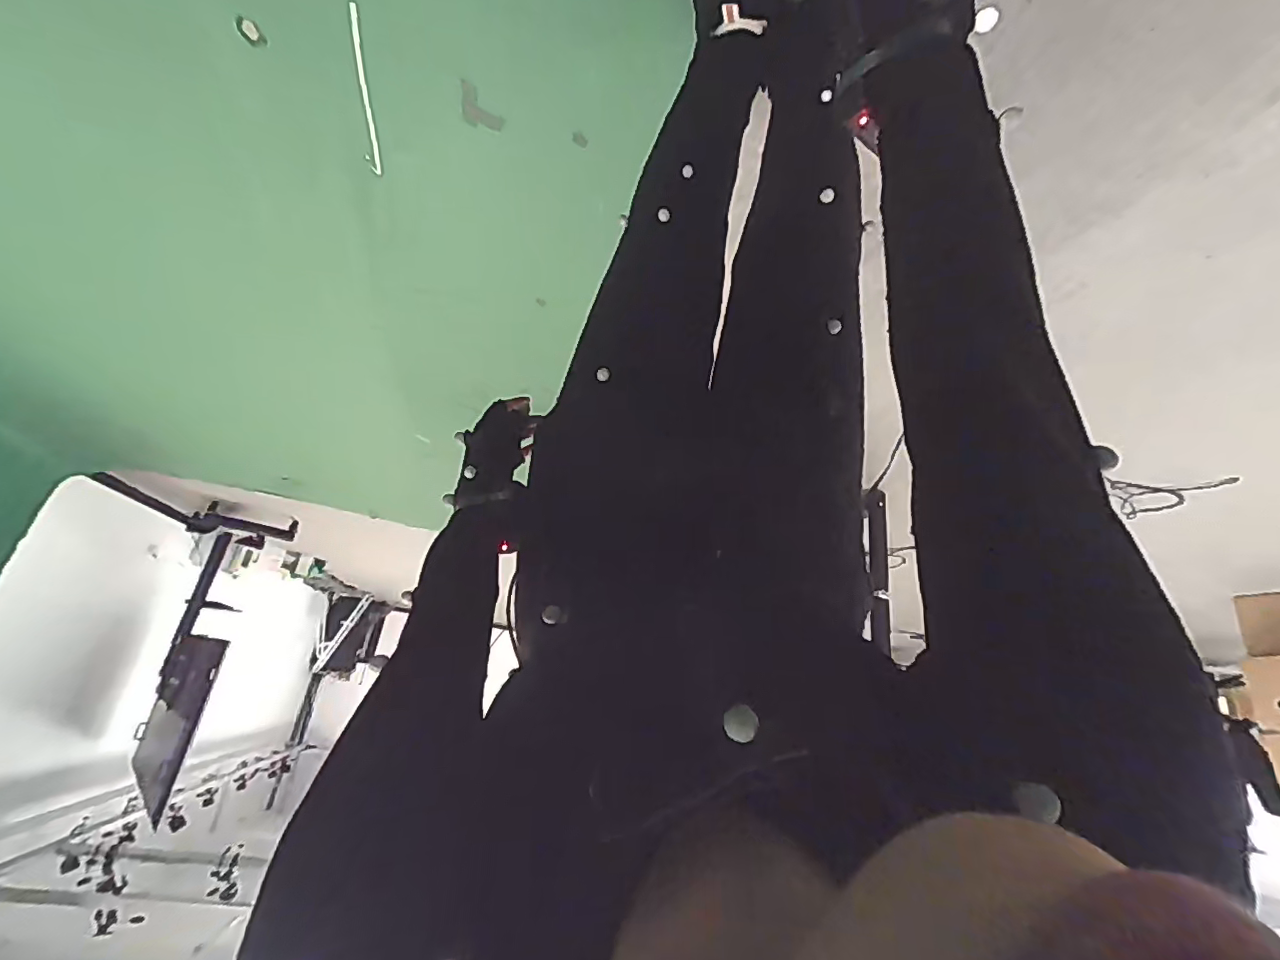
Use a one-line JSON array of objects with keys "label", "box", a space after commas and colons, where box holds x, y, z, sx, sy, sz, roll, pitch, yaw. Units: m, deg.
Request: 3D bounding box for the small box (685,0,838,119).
[{"label": "small box", "box": [0.154, -0.640, 0.740, 0.168, 0.176, 0.179, 0, 162, -4]}]
